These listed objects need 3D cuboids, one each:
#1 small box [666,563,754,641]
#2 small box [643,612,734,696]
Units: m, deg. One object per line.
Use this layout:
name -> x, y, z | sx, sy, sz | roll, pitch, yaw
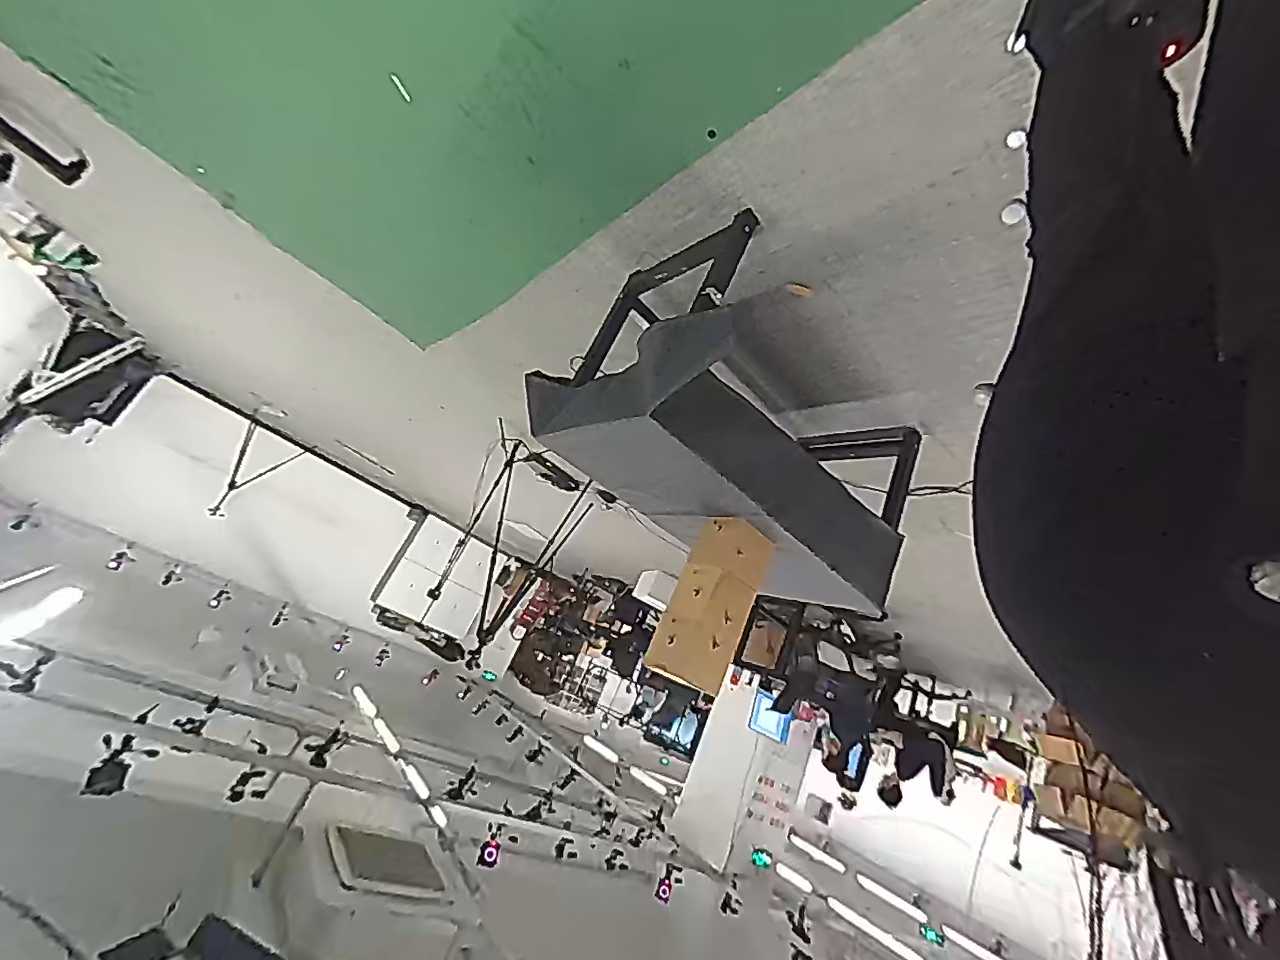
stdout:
small box -> 0.214, 0.364, 1.637 | 0.179, 0.176, 0.168 | 37, 158, -30
small box -> 0.146, 0.504, 1.588 | 0.179, 0.176, 0.168 | 39, 157, -31
